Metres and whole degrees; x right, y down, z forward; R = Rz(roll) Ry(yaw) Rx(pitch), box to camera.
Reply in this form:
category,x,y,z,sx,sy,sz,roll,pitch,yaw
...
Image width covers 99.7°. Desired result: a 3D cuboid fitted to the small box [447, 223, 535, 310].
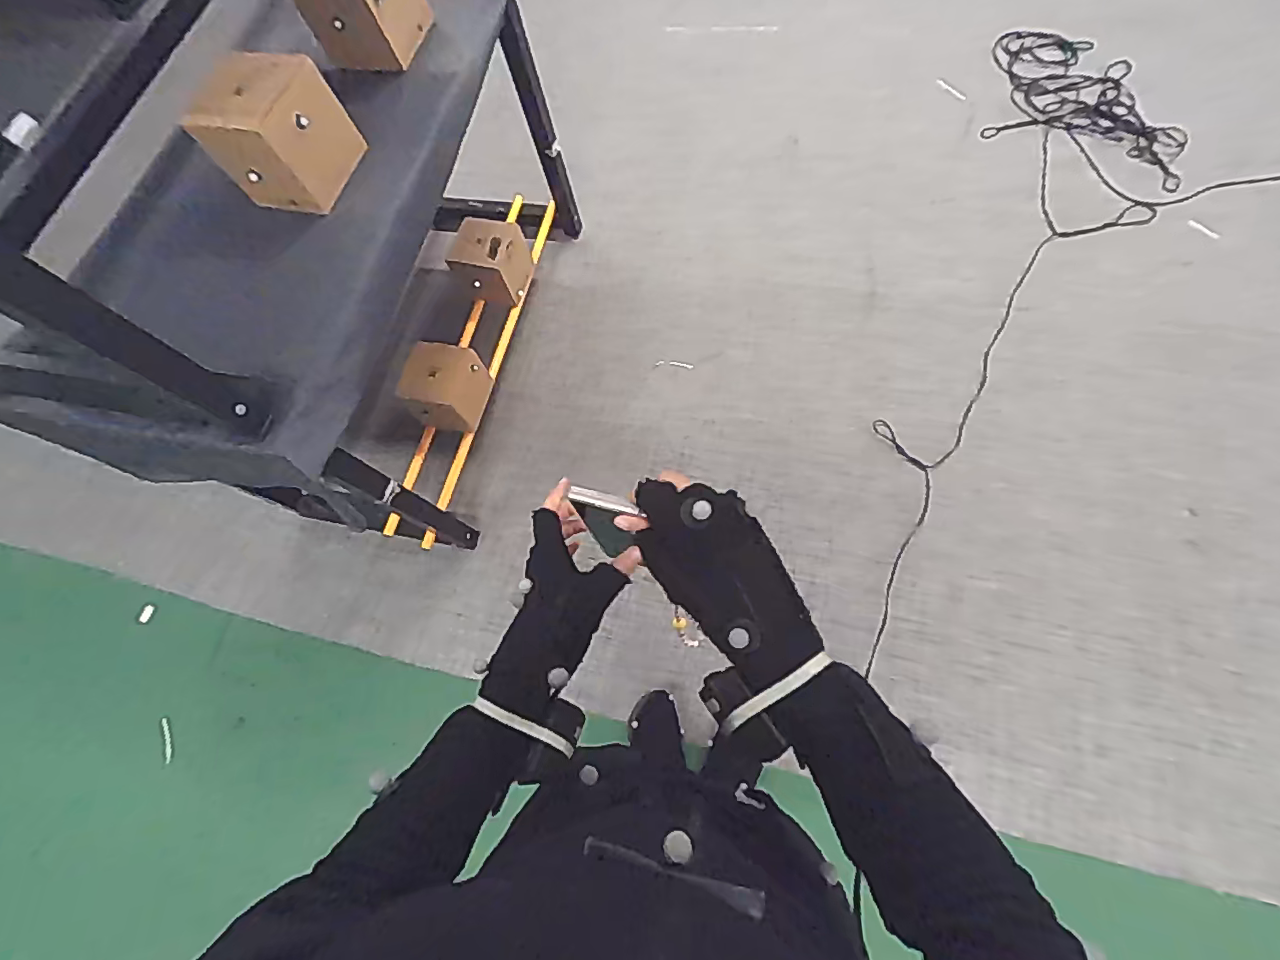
category,x,y,z,sx,sy,sz,roll,pitch,yaw
small box,-0.436,-0.632,1.617,0.179,0.176,0.168,13,71,12

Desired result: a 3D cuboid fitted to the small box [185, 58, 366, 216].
category,x,y,z,sx,sy,sz,roll,pitch,yaw
small box,-0.628,-0.600,0.957,0.168,0.176,0.179,13,72,12
